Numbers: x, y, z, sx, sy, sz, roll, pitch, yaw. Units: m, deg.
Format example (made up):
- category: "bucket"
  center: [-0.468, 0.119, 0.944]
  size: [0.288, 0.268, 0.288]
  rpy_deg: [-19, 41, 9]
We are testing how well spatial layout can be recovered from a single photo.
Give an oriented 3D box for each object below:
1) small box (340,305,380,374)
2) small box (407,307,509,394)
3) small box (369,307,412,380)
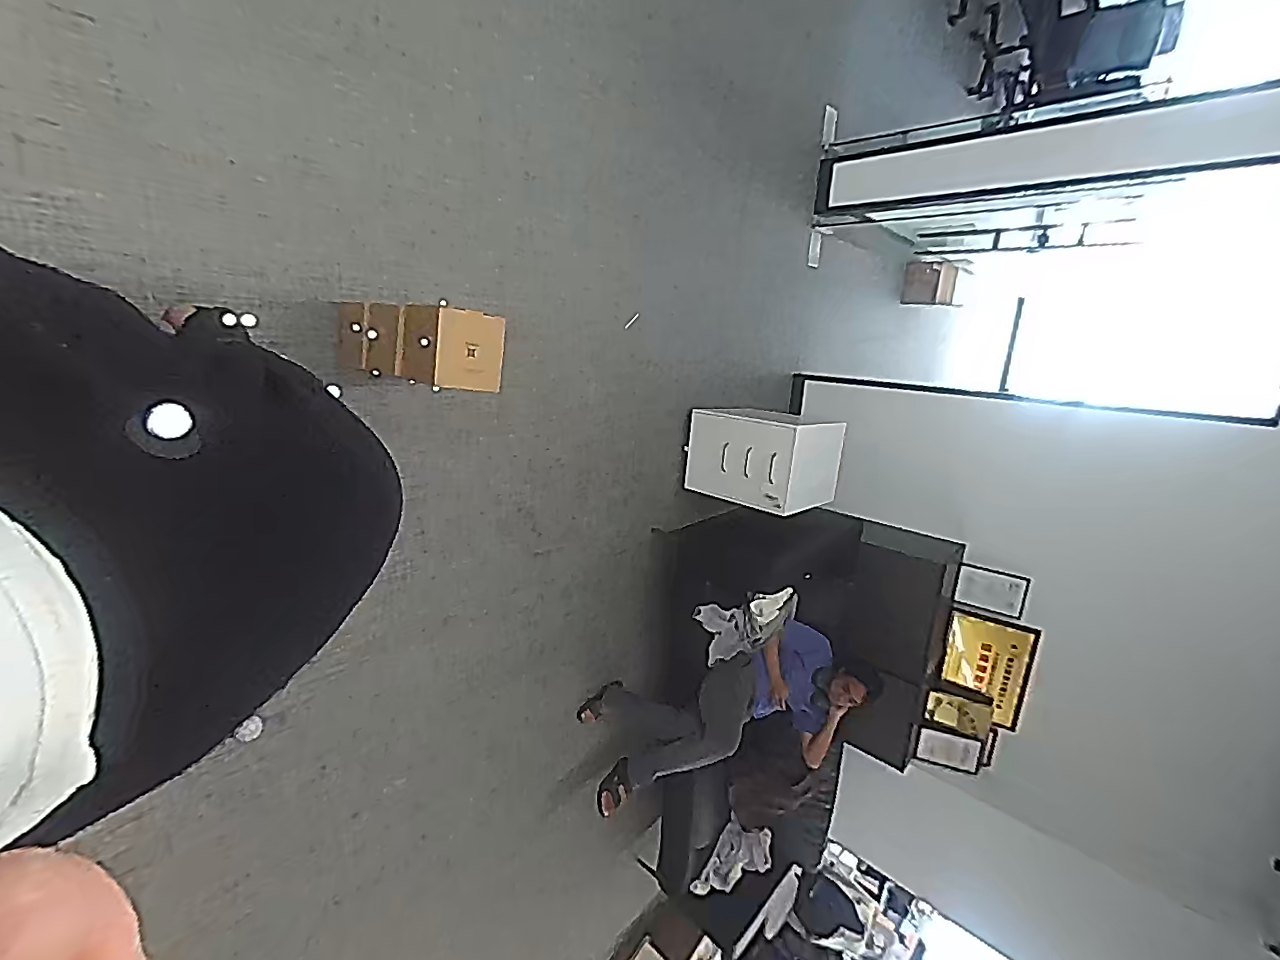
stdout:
- category: "small box"
  center: [-0.680, -0.372, 1.457]
  size: [0.179, 0.176, 0.168]
  rpy_deg: [-4, 106, -49]
- category: "small box"
  center: [-0.428, -0.303, 1.262]
  size: [0.168, 0.176, 0.179]
  rpy_deg: [-4, 107, -47]
- category: "small box"
  center: [-0.553, -0.335, 1.359]
  size: [0.179, 0.176, 0.168]
  rpy_deg: [-2, 104, -48]
